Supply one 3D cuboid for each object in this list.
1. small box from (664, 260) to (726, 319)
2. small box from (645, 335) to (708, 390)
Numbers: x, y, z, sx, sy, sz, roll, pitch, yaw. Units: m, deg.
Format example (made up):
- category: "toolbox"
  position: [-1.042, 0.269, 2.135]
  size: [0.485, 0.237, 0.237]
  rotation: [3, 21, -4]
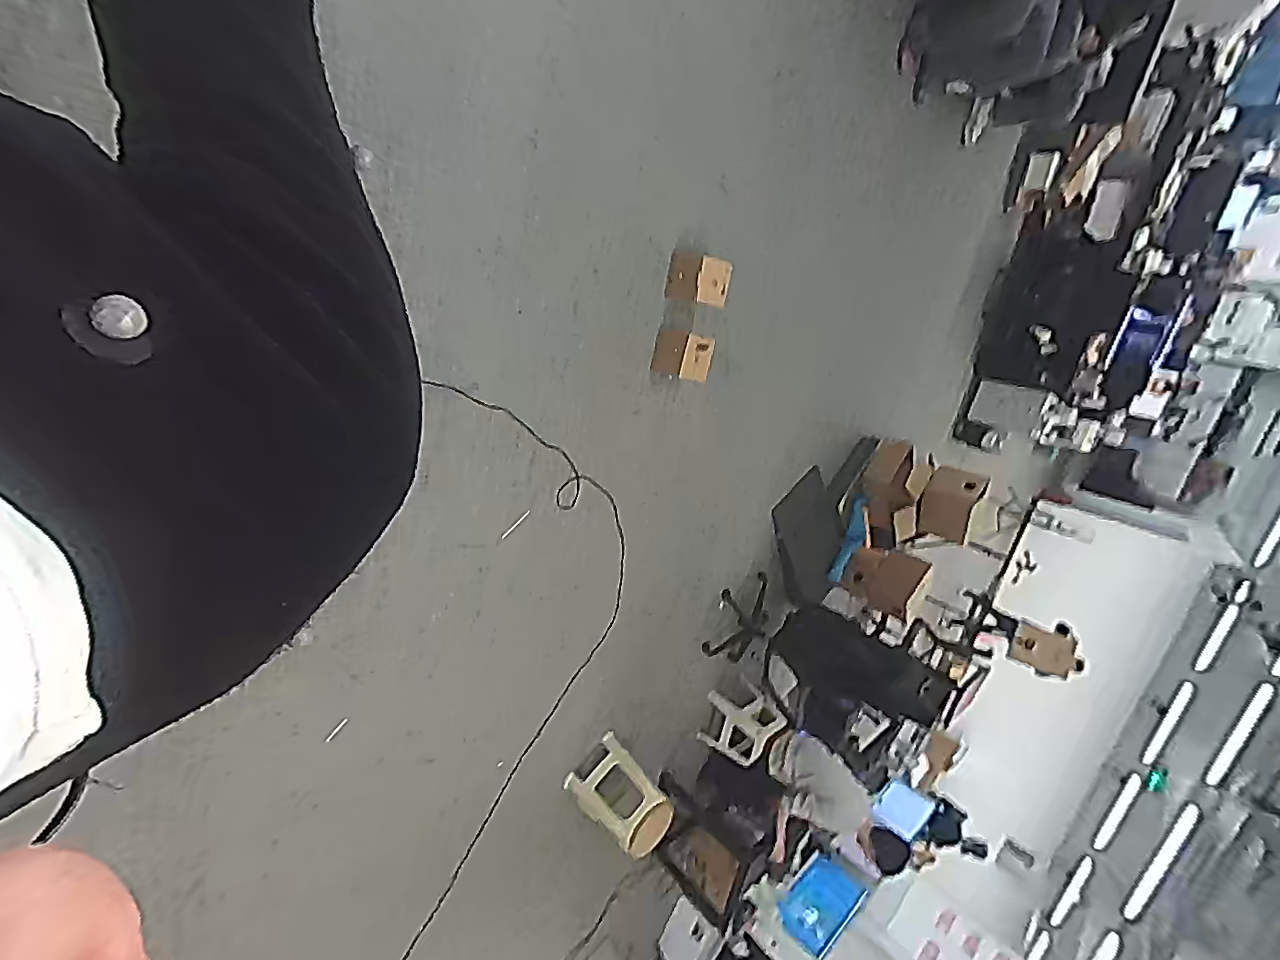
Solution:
- category: "small box"
  position: [0.212, -0.747, 2.113]
  size: [0.168, 0.176, 0.179]
  rotation: [-39, 132, -29]
- category: "small box"
  position: [0.145, -0.475, 2.182]
  size: [0.168, 0.176, 0.179]
  rotation: [5, 105, -45]
